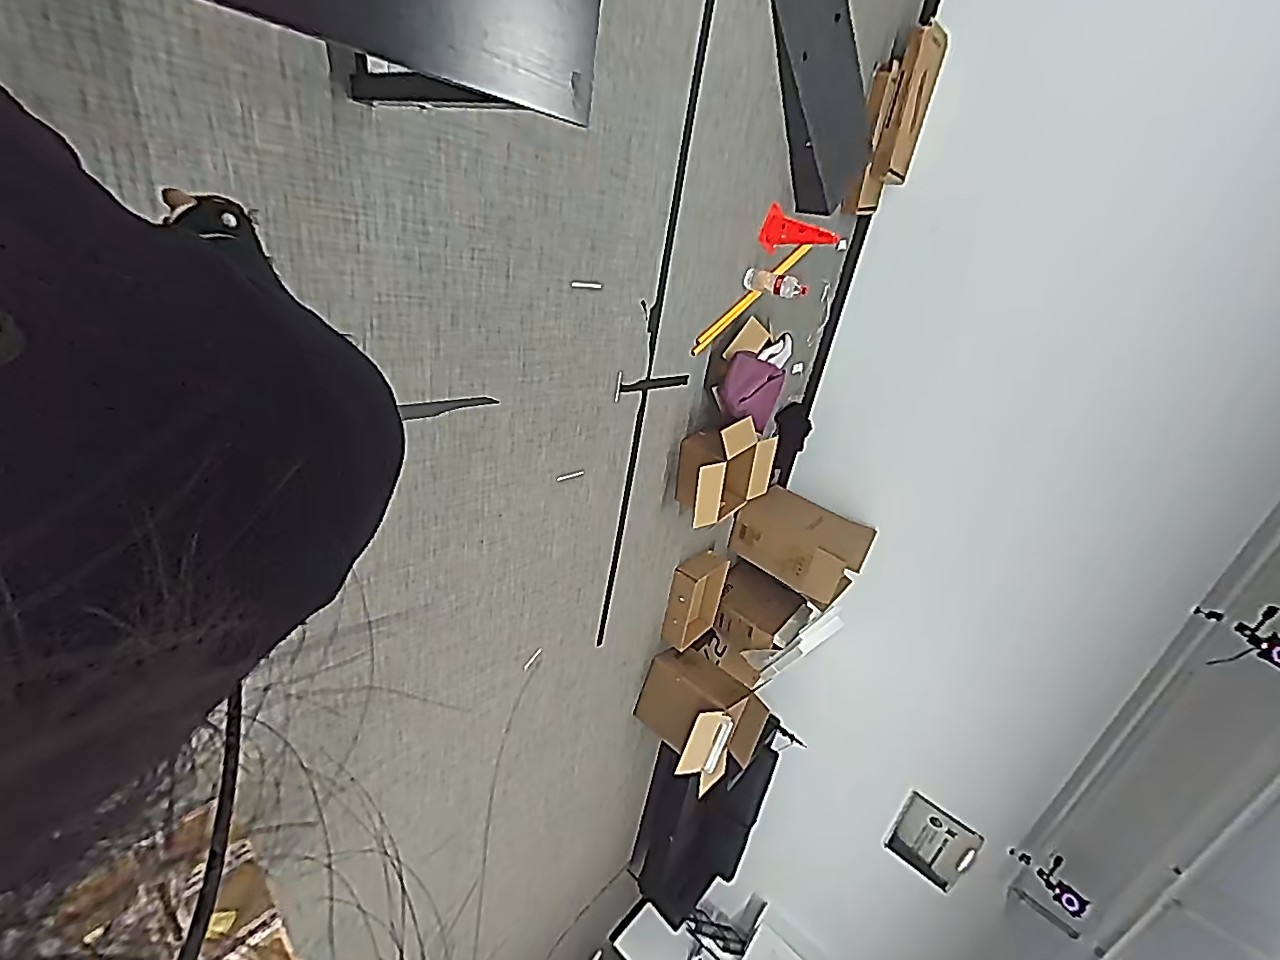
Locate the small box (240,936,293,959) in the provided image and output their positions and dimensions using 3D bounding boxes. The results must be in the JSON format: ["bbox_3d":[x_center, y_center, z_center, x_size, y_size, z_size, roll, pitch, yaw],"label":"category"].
[{"bbox_3d":[-0.981,1.347,1.397,0.168,0.176,0.179,-21,125,-48],"label":"small box"}]
